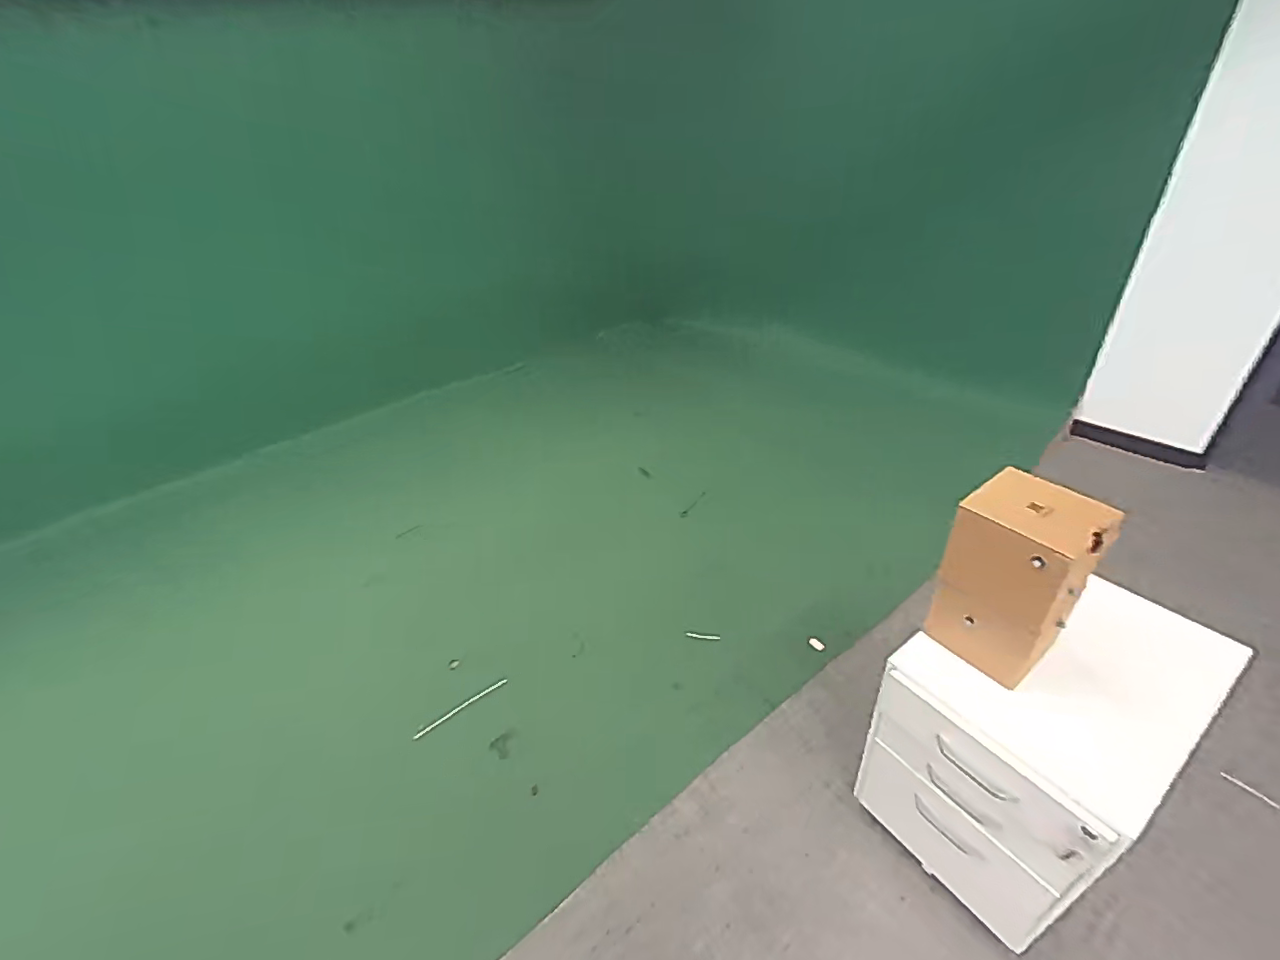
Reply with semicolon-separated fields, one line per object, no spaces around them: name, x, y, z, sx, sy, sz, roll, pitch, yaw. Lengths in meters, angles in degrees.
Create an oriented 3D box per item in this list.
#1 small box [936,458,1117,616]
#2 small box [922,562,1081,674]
small box;0.639;0.094;0.917;0.168;0.176;0.179;-27;42;-25
small box;0.663;0.223;1.014;0.168;0.176;0.179;-28;41;-25
